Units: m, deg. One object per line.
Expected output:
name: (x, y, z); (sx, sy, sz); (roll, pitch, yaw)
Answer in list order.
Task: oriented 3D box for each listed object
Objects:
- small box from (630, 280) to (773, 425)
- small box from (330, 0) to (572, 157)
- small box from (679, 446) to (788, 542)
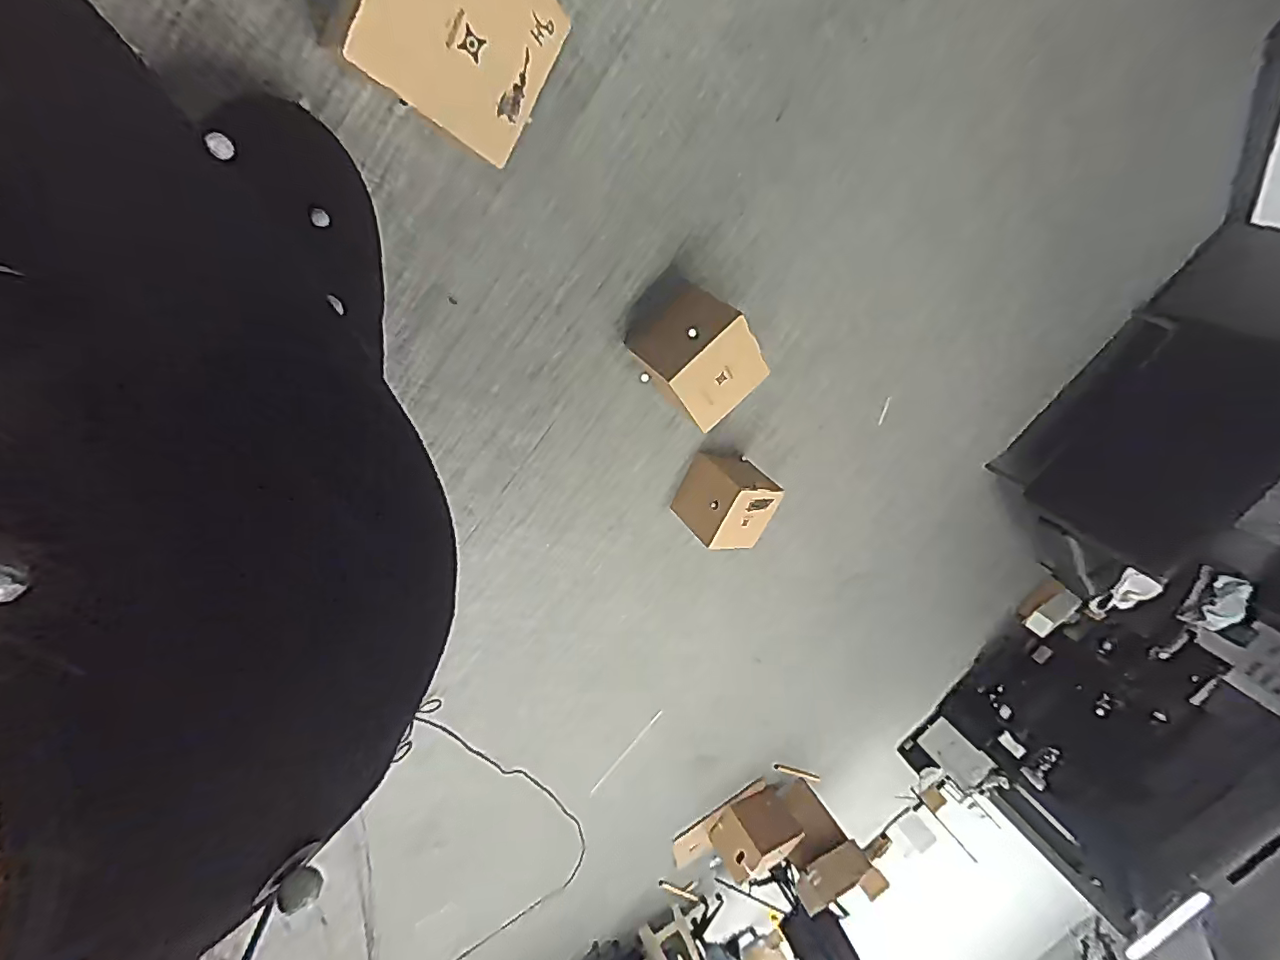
small box: (0.114, -0.245, 1.023); (0.179, 0.176, 0.168); (-43, 138, 1)
small box: (-0.210, -0.485, 0.578); (0.179, 0.176, 0.168); (17, 113, -43)
small box: (0.223, 0.033, 1.336); (0.168, 0.176, 0.179); (3, 122, -38)
